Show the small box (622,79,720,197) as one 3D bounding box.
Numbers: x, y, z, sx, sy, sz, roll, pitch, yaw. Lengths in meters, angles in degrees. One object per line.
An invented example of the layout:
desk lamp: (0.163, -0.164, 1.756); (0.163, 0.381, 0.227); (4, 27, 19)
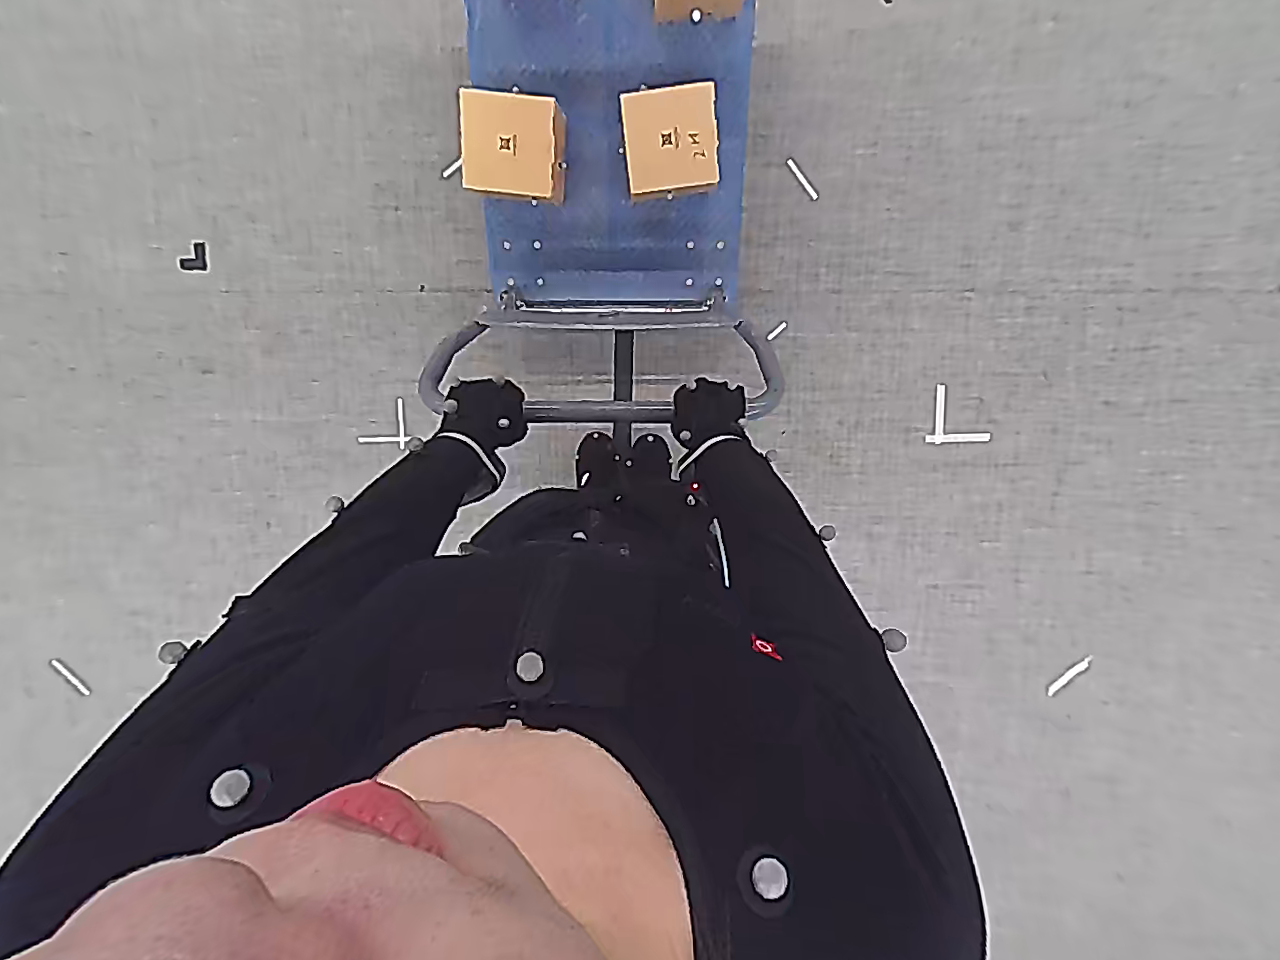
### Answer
small box: (0.062, -0.674, 1.085); (0.179, 0.176, 0.168); (-6, 113, 3)

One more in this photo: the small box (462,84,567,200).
small box: (-0.246, -0.669, 1.090); (0.179, 0.176, 0.168); (4, 113, -3)

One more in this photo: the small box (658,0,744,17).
small box: (0.112, -0.966, 0.959); (0.168, 0.176, 0.179); (-3, 114, 2)
